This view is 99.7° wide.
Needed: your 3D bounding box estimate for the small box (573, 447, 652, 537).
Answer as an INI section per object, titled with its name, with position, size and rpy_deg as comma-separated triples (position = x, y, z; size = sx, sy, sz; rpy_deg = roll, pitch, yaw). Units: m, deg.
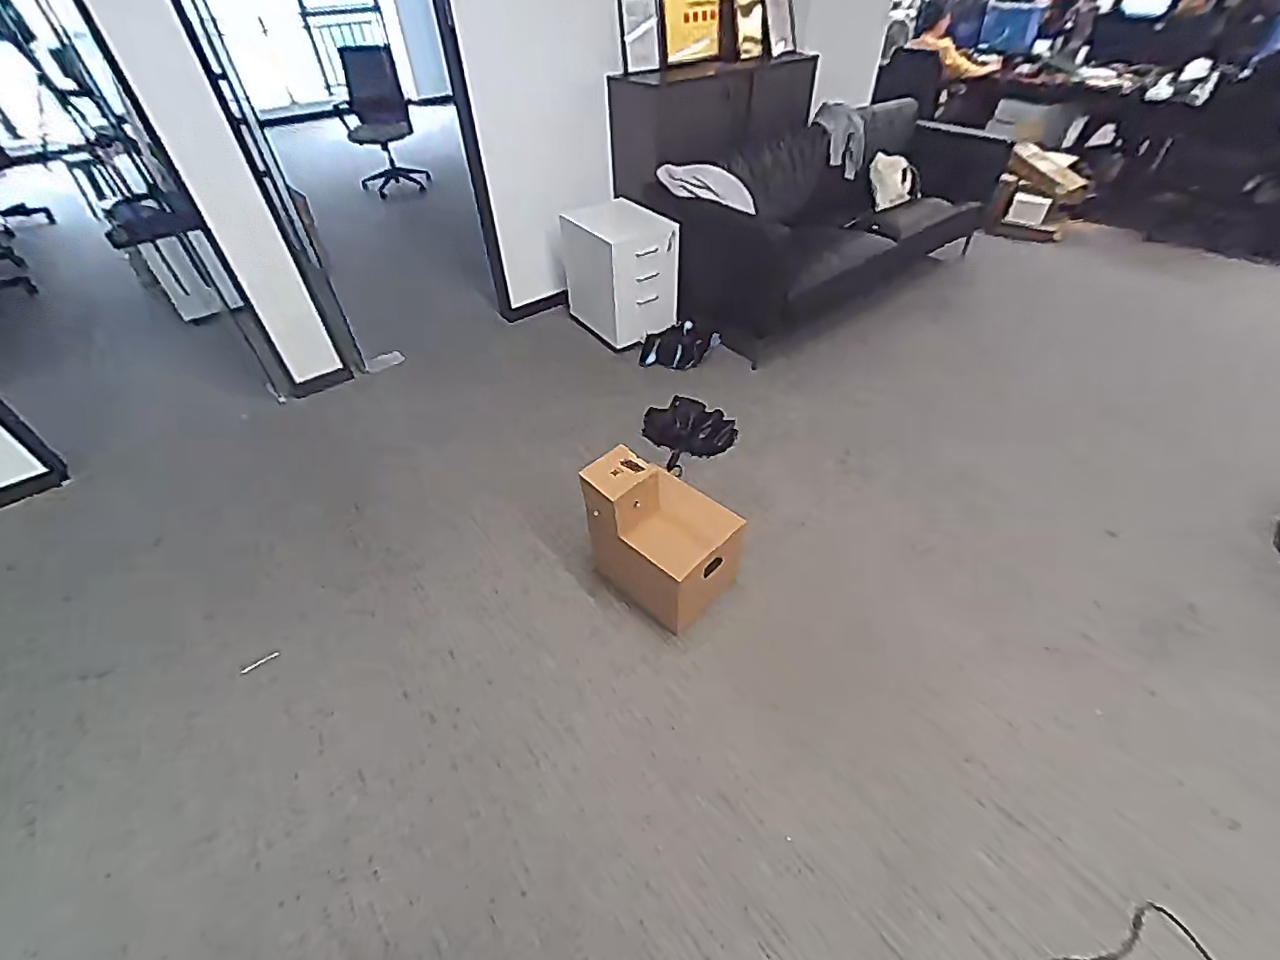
[small box]
position = -0.079, 0.038, 1.641
size = 0.179, 0.176, 0.168
rpy_deg = -35, 53, -26
